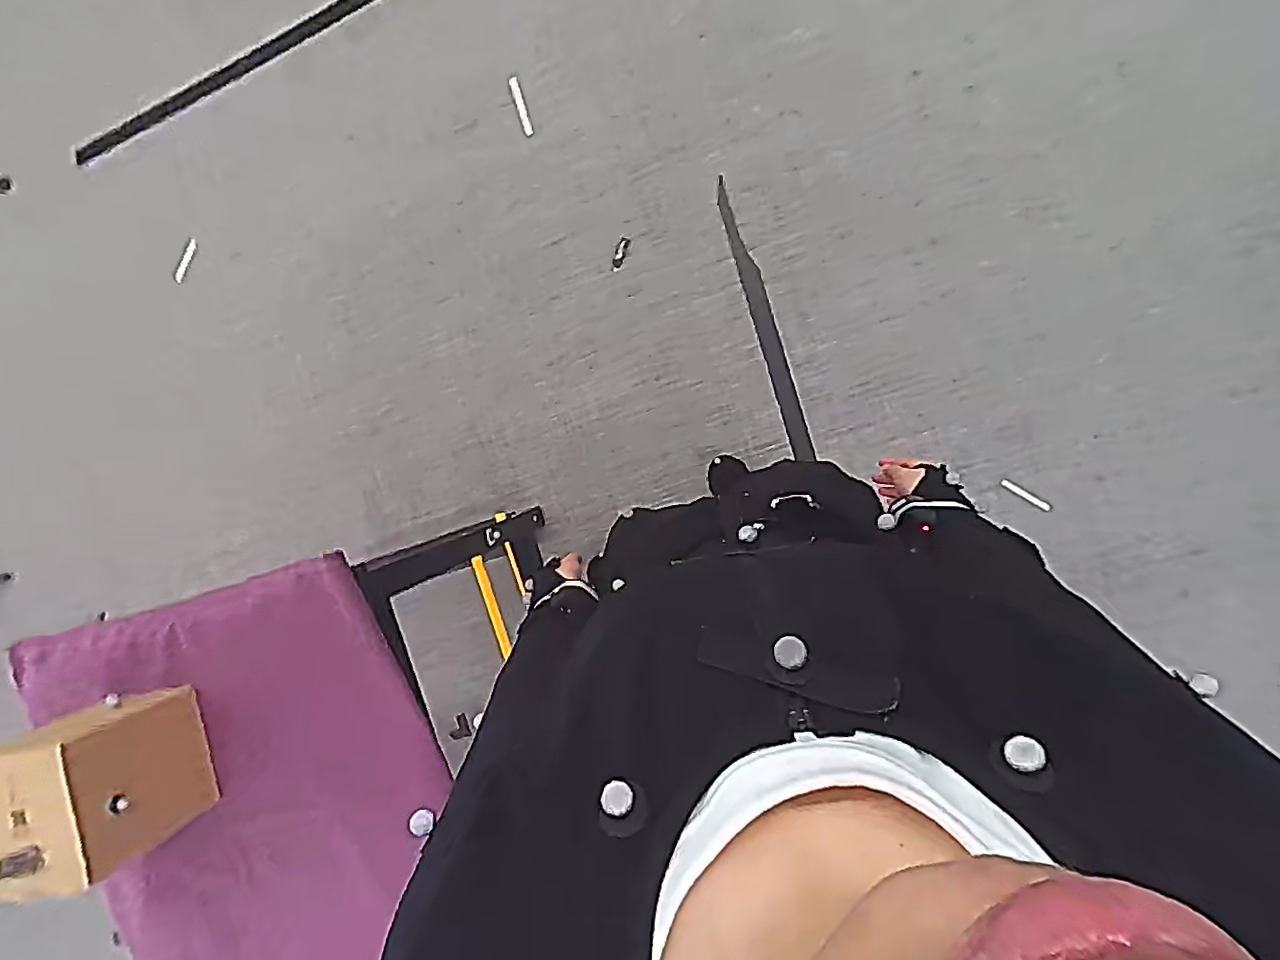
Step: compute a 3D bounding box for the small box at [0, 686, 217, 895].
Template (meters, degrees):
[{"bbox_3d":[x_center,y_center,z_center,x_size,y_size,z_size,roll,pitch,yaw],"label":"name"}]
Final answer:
[{"bbox_3d":[-0.721,0.406,0.728,0.168,0.176,0.179,-12,91,9],"label":"small box"}]
